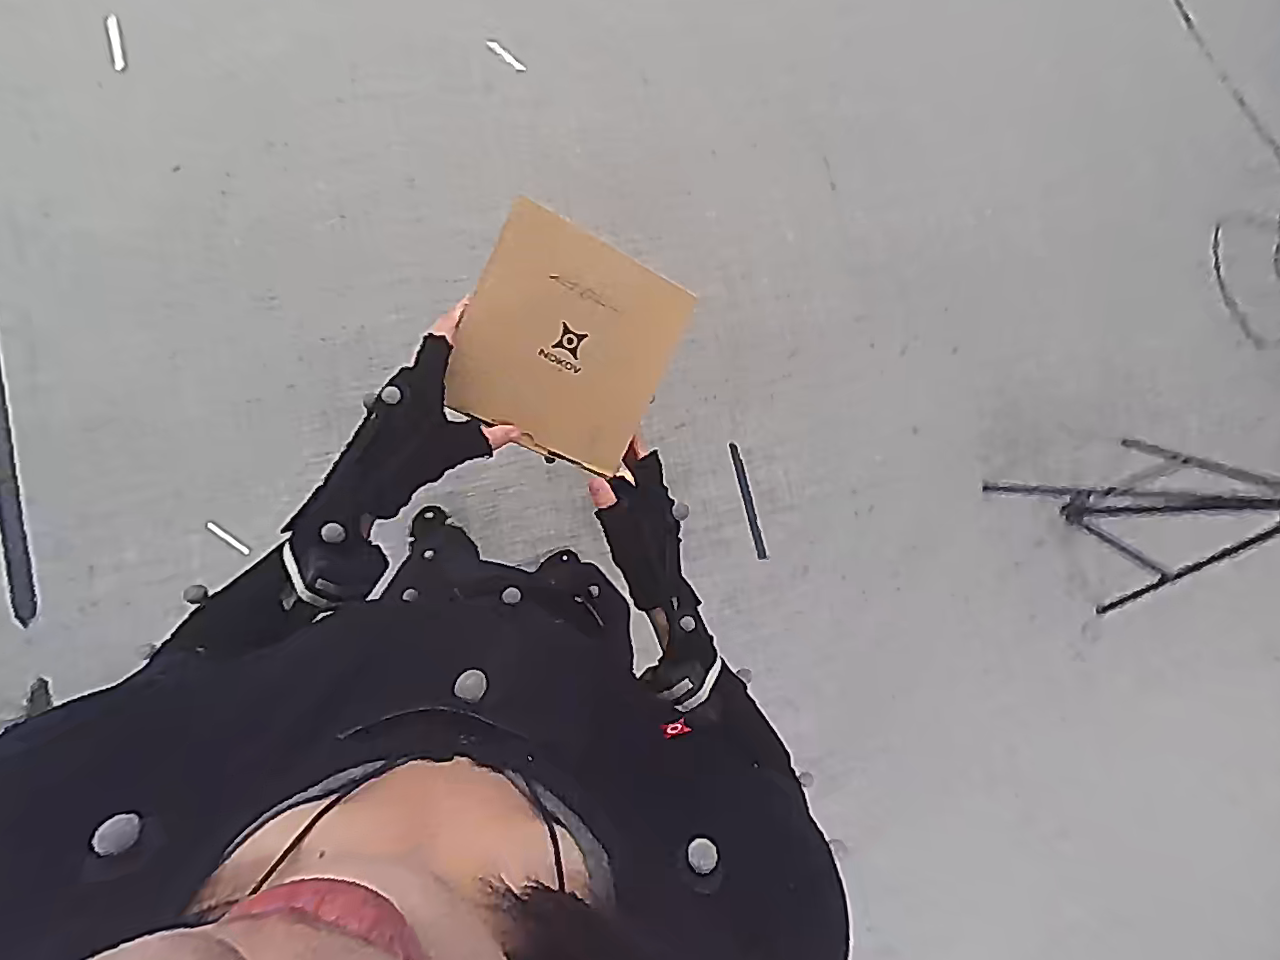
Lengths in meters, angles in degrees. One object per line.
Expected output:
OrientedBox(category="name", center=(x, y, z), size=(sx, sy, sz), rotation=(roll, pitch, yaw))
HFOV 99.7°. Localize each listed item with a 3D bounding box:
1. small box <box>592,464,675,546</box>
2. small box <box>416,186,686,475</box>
OrientedBox(category="small box", center=(-0.023, 0.072, 1.483), size=(0.168, 0.176, 0.179), rotation=(-20, 87, -12))
OrientedBox(category="small box", center=(-0.085, -0.125, 0.507), size=(0.168, 0.176, 0.179), rotation=(23, 93, -17))
